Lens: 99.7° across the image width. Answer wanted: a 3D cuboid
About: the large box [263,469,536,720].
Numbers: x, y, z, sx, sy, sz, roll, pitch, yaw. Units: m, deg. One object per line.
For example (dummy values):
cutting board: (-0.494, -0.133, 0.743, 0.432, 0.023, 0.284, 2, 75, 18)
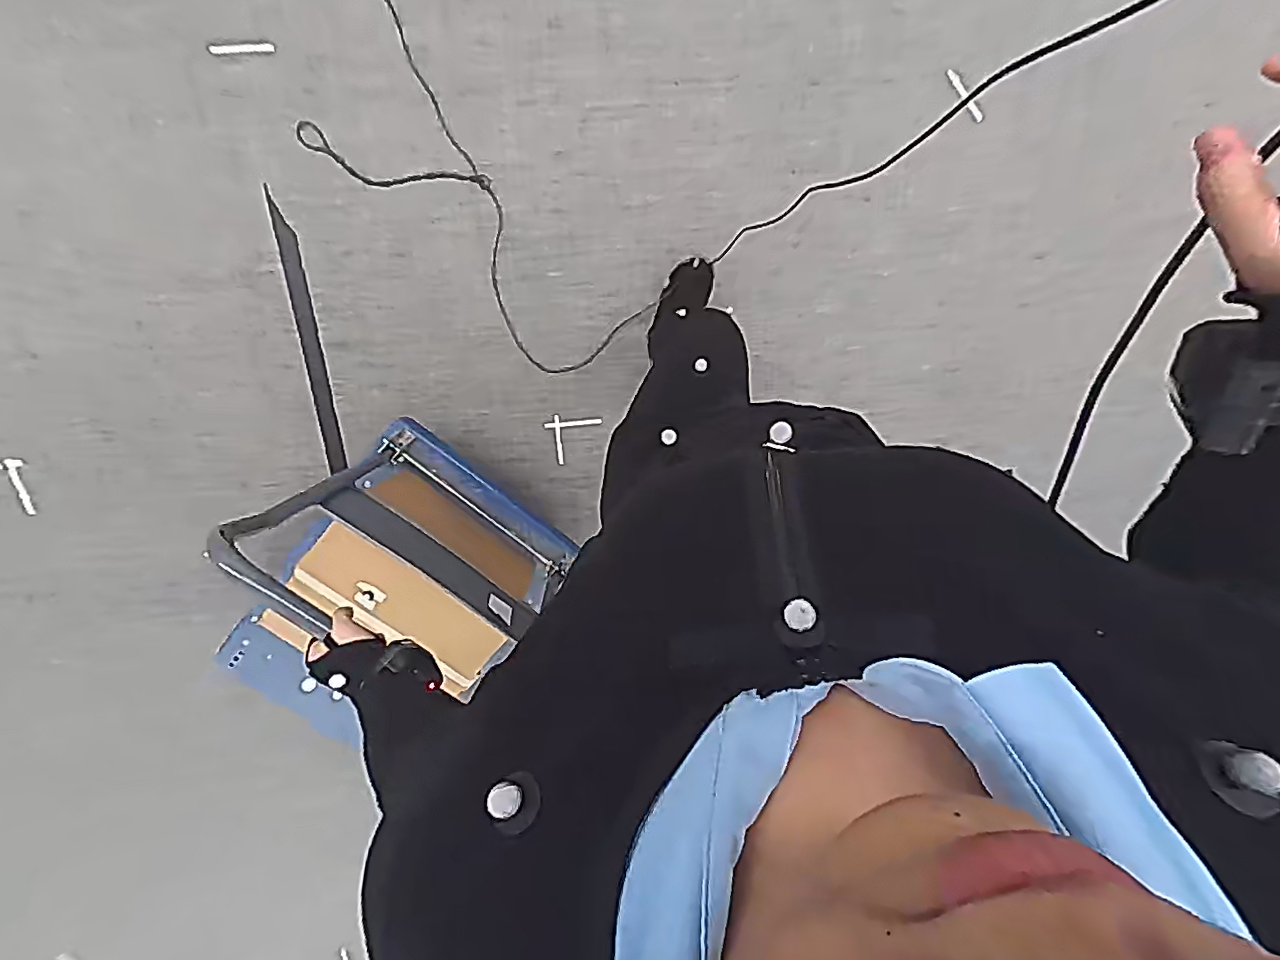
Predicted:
large box: (-0.505, 0.243, 1.224, 0.408, 0.320, 0.320, 40, 101, -12)
